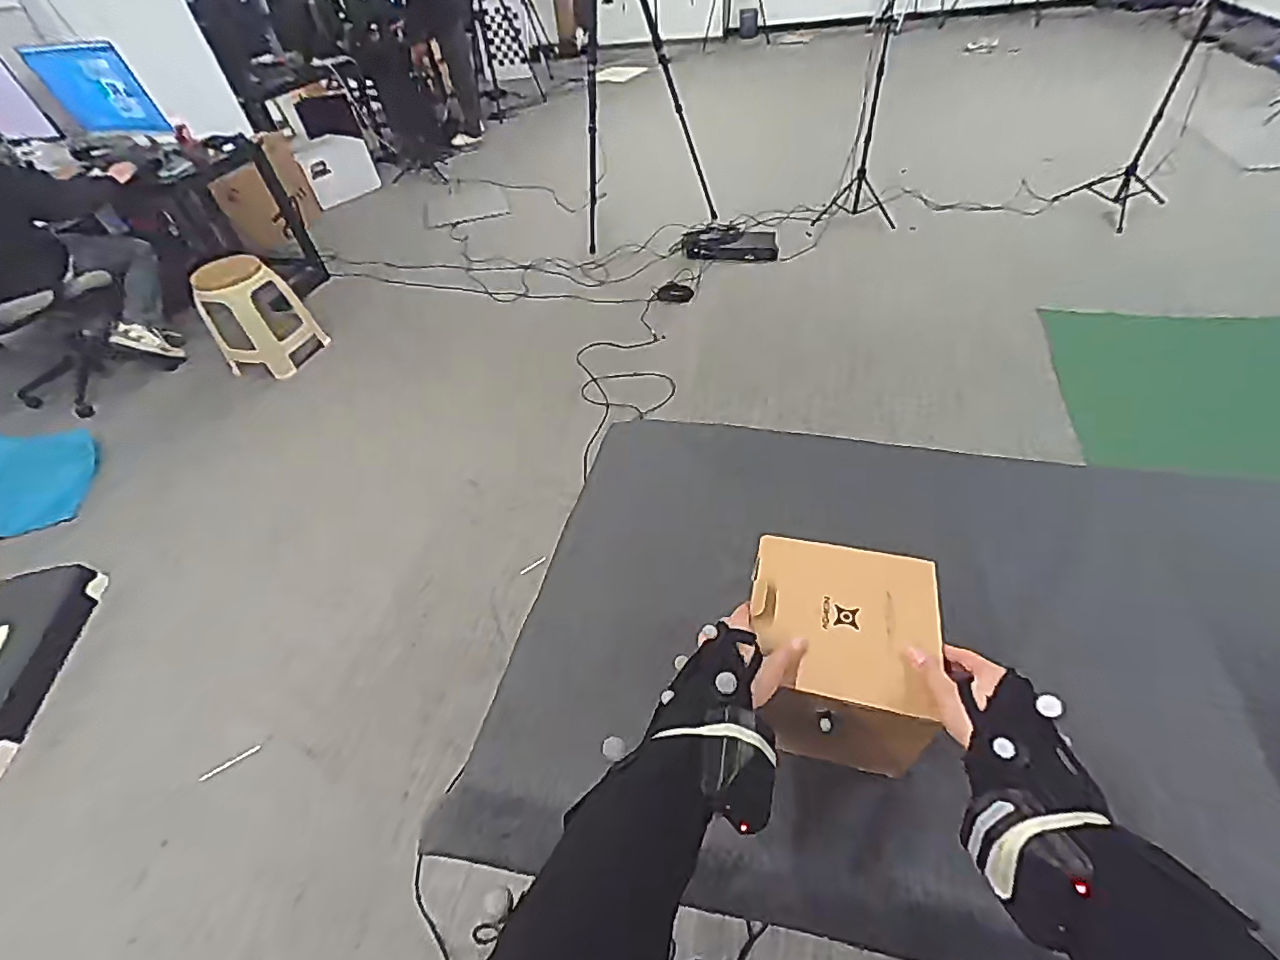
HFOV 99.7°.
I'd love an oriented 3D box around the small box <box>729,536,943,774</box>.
[{"bbox_3d":[0.193,0.185,0.570,0.179,0.176,0.168,8,49,13],"label":"small box"}]
